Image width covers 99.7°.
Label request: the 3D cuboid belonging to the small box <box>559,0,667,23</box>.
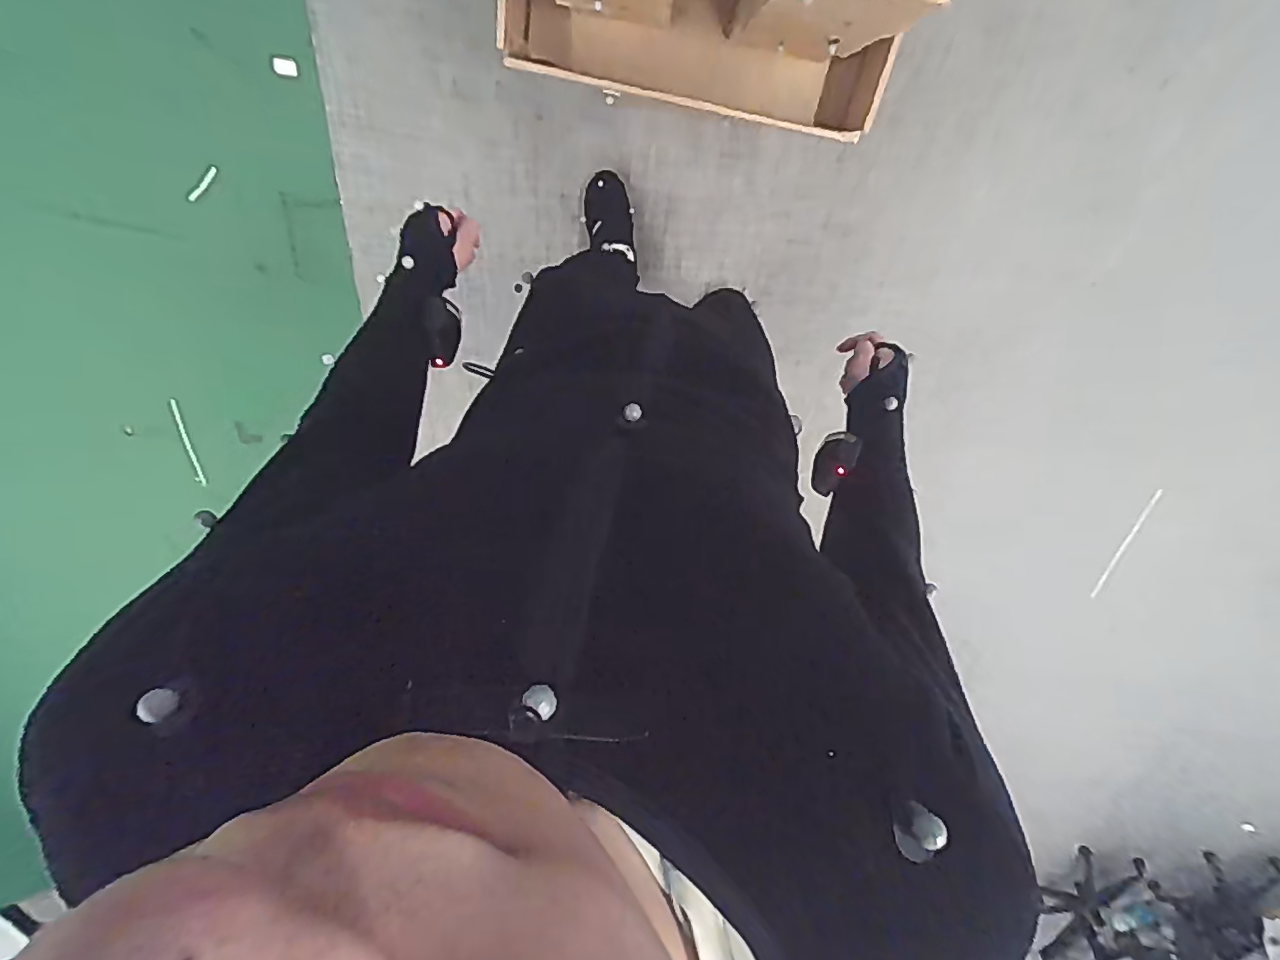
[{"bbox_3d":[-0.035,-0.715,0.678,0.168,0.176,0.179,6,120,-3],"label":"small box"}]

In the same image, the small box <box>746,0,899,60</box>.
[{"bbox_3d":[0.244,-0.672,0.695,0.168,0.176,0.179,9,120,-5],"label":"small box"}]

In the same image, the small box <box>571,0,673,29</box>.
[{"bbox_3d":[-0.027,-0.808,0.811,0.179,0.176,0.168,7,121,-4],"label":"small box"}]
